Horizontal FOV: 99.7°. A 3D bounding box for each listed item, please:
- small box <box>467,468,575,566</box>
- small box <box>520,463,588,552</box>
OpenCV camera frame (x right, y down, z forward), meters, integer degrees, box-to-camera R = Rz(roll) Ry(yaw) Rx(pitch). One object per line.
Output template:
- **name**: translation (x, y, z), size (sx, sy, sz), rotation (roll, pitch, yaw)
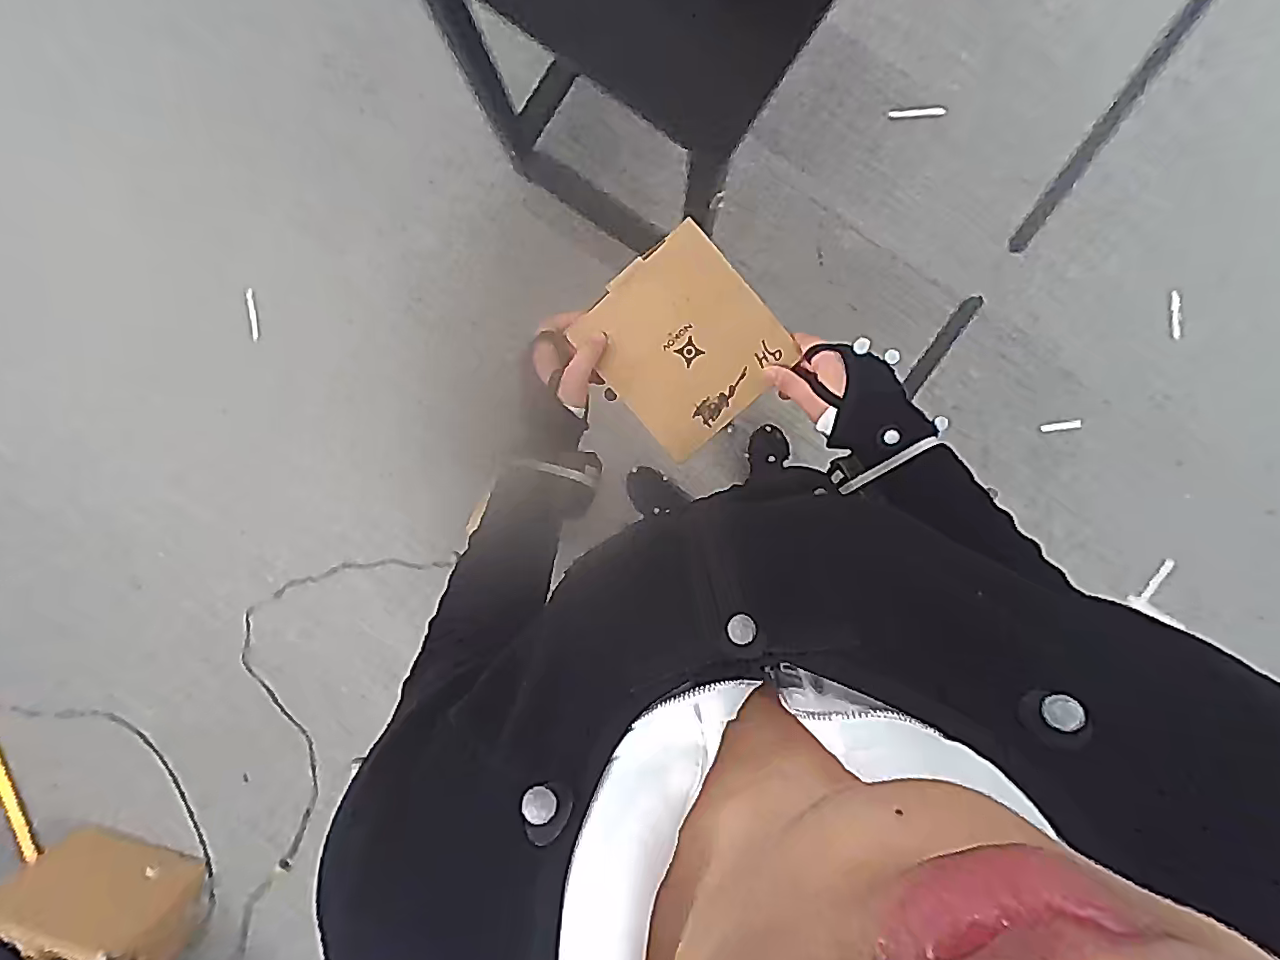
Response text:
- **small box**: translation (-0.271, 0.078, 1.279), size (0.179, 0.176, 0.168), rotation (27, 94, 1)
- **small box**: translation (-0.258, 0.066, 1.440), size (0.179, 0.176, 0.168), rotation (30, 95, -1)
